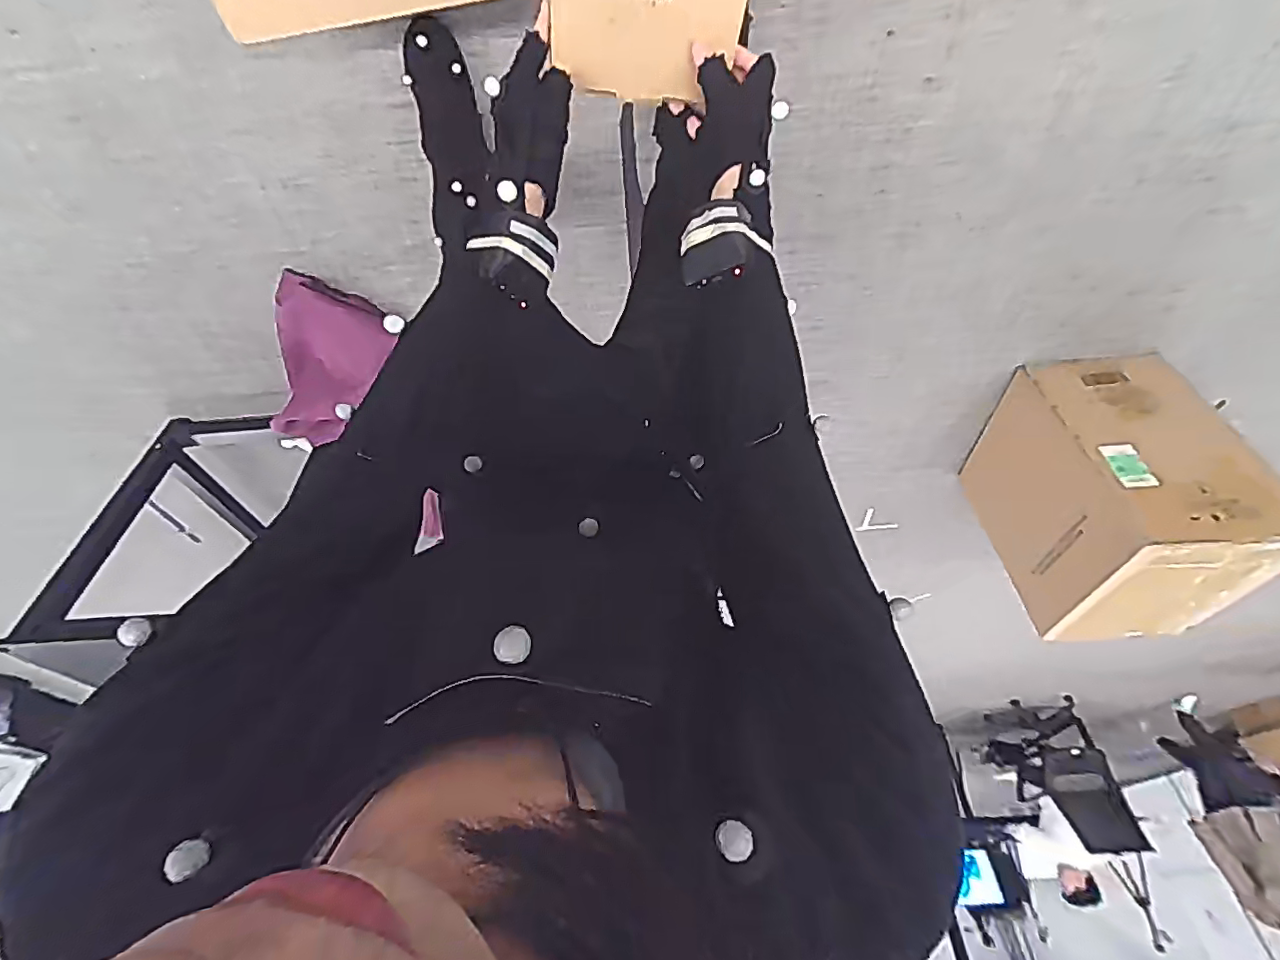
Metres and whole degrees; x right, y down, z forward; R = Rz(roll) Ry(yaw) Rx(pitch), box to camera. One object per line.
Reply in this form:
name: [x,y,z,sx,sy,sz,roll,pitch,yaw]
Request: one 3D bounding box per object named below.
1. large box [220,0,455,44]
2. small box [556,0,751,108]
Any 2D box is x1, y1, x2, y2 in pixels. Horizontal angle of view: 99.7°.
large box: [-0.368,-0.822,0.690,0.408,0.320,0.320,-7,141,5]
small box: [0.008,-0.476,0.486,0.168,0.176,0.179,-1,147,-9]
